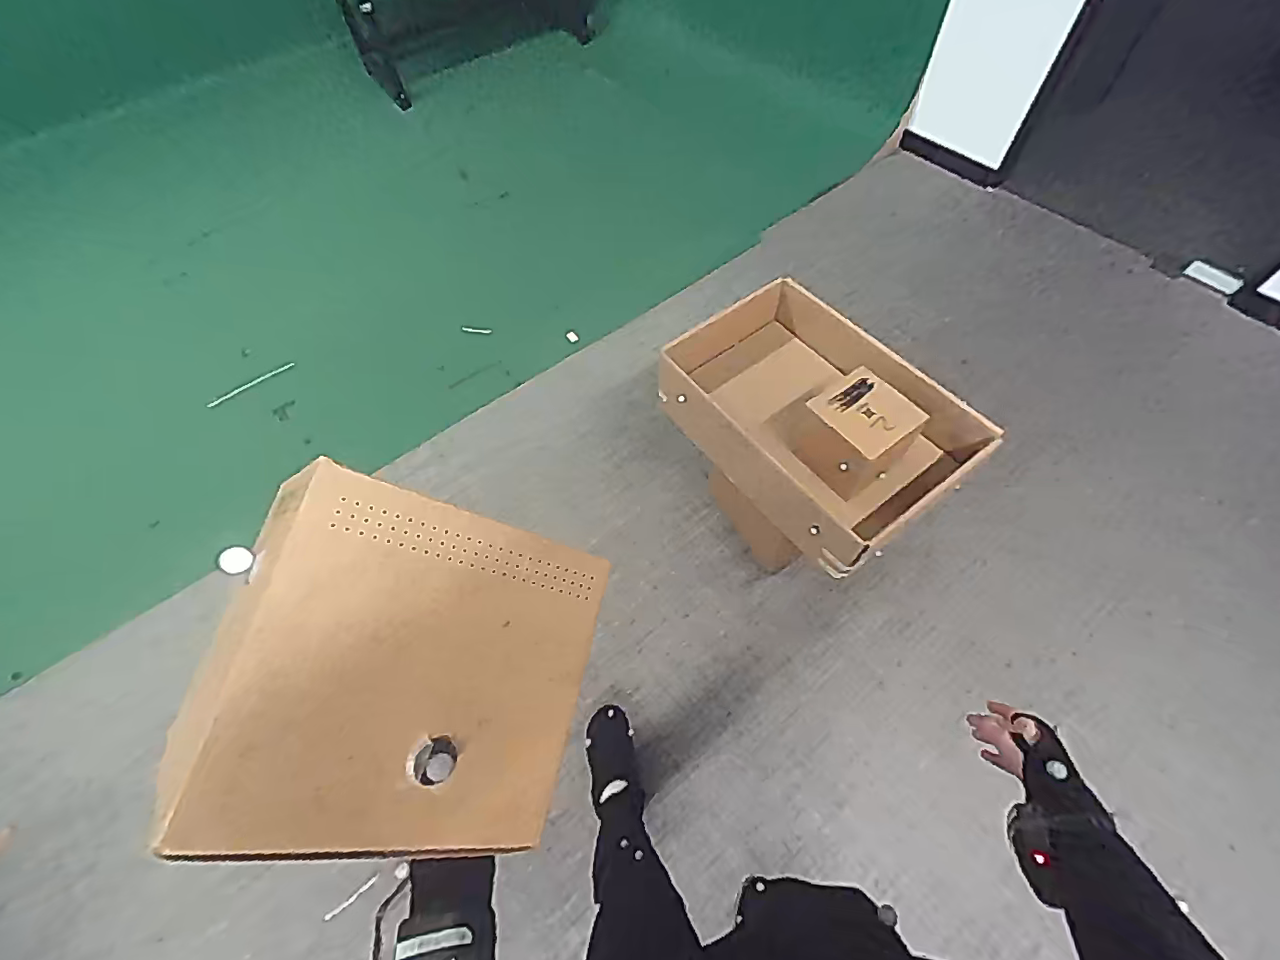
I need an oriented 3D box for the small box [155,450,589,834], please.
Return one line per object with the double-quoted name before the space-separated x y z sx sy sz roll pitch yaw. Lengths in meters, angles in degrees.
"small box" -0.156 0.094 0.341 0.168 0.179 0.176 -9 62 50
